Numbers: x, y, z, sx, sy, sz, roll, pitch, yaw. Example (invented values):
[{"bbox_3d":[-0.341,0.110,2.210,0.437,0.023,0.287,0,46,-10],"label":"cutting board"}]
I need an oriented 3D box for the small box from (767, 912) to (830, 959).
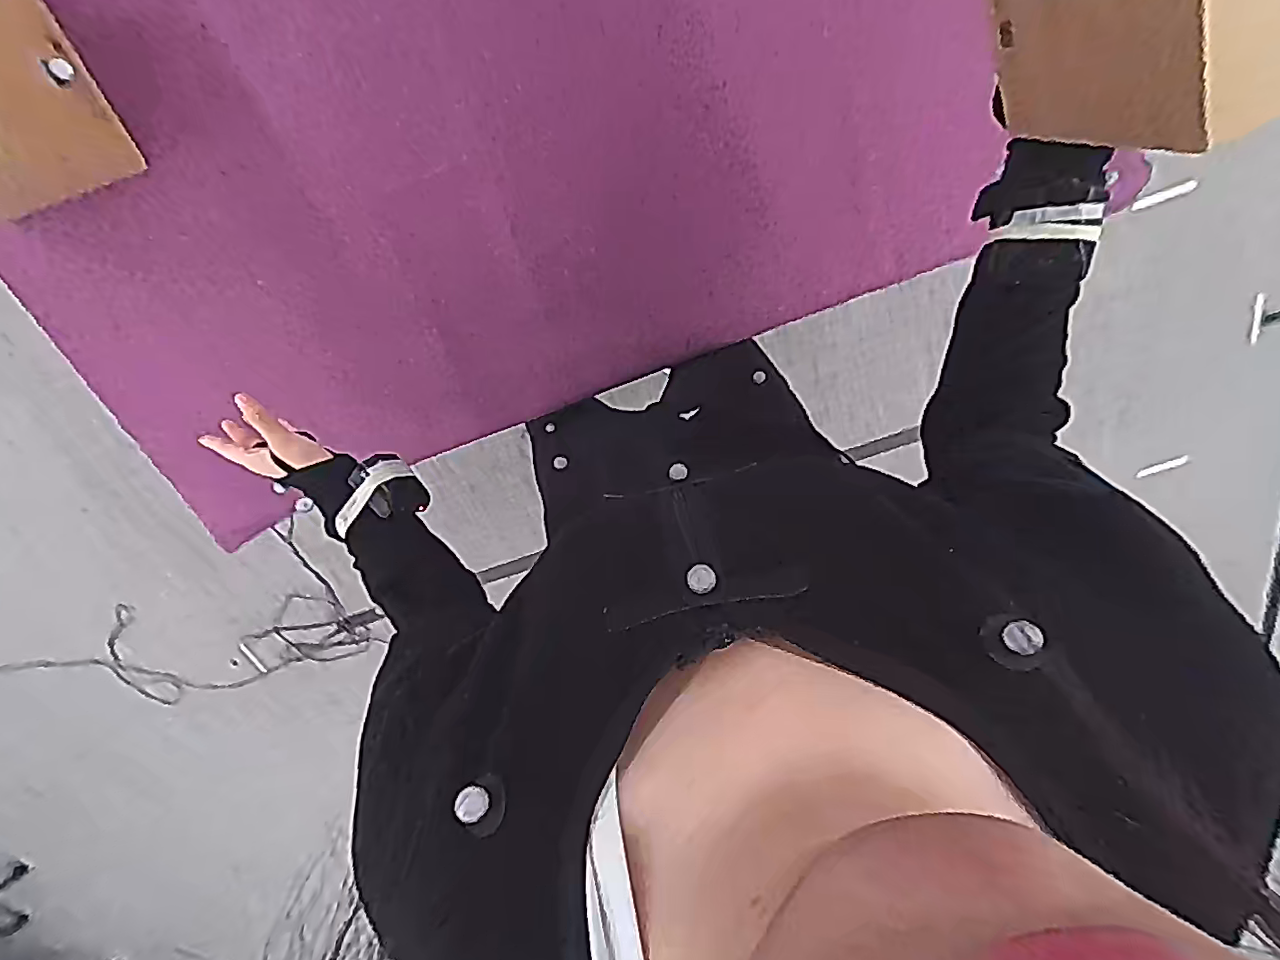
[{"bbox_3d":[0.519,1.533,1.744,0.168,0.176,0.179,-15,116,4],"label":"small box"}]

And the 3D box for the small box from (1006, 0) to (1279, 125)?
[{"bbox_3d":[0.281,-0.286,0.232,0.179,0.176,0.168,-24,121,19],"label":"small box"}]

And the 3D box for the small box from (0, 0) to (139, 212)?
[{"bbox_3d":[-0.612,-0.339,0.463,0.179,0.176,0.168,-17,118,3],"label":"small box"}]
